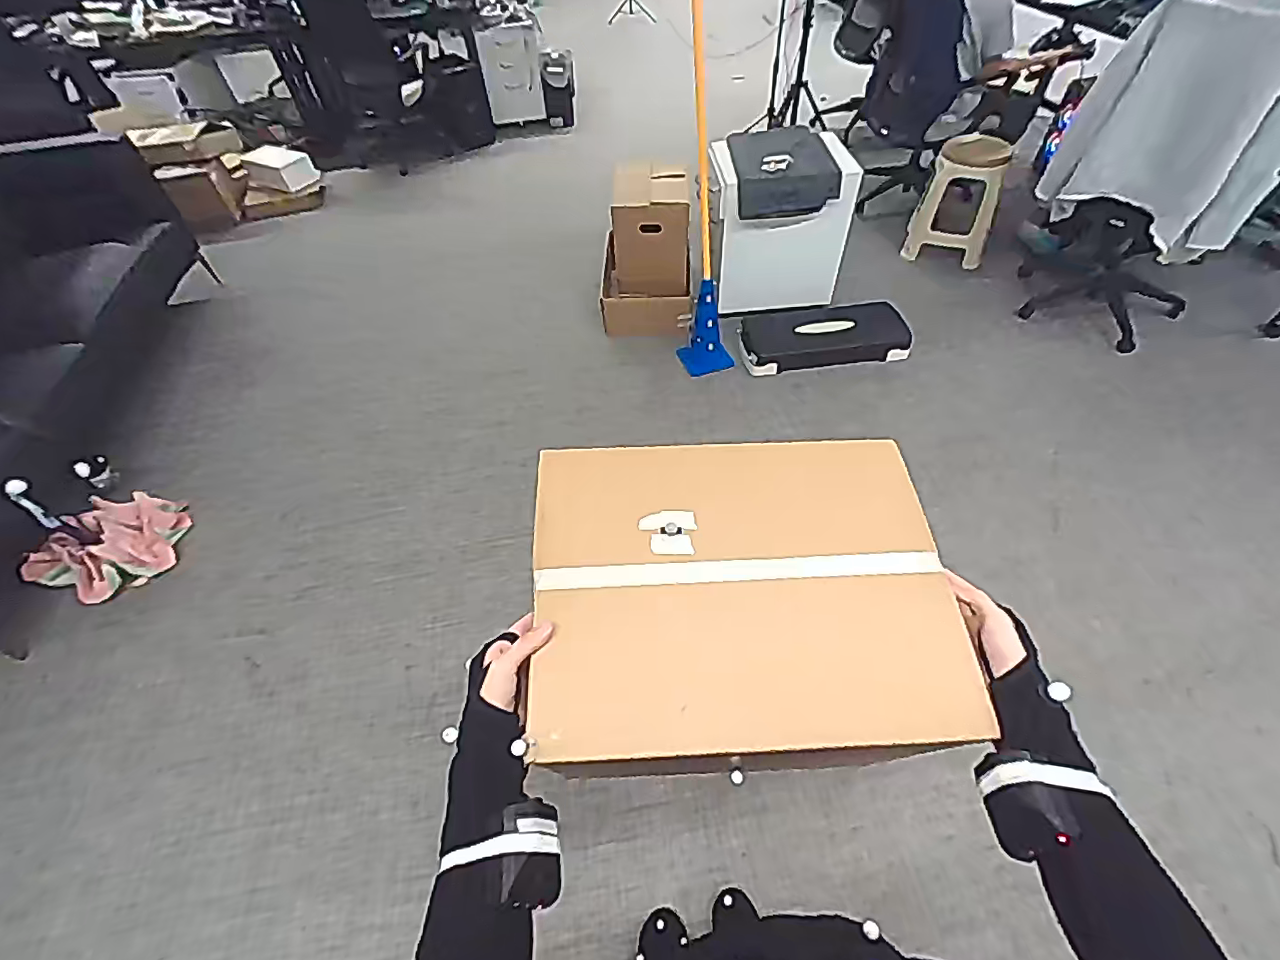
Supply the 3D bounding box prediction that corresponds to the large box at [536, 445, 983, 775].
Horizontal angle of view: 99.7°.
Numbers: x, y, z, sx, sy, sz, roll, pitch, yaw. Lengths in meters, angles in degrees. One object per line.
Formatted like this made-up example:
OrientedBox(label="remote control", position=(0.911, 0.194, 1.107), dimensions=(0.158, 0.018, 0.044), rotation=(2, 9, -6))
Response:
OrientedBox(label="large box", position=(0.101, 0.177, 0.674), dimensions=(0.408, 0.320, 0.320), rotation=(-3, 58, -1))
